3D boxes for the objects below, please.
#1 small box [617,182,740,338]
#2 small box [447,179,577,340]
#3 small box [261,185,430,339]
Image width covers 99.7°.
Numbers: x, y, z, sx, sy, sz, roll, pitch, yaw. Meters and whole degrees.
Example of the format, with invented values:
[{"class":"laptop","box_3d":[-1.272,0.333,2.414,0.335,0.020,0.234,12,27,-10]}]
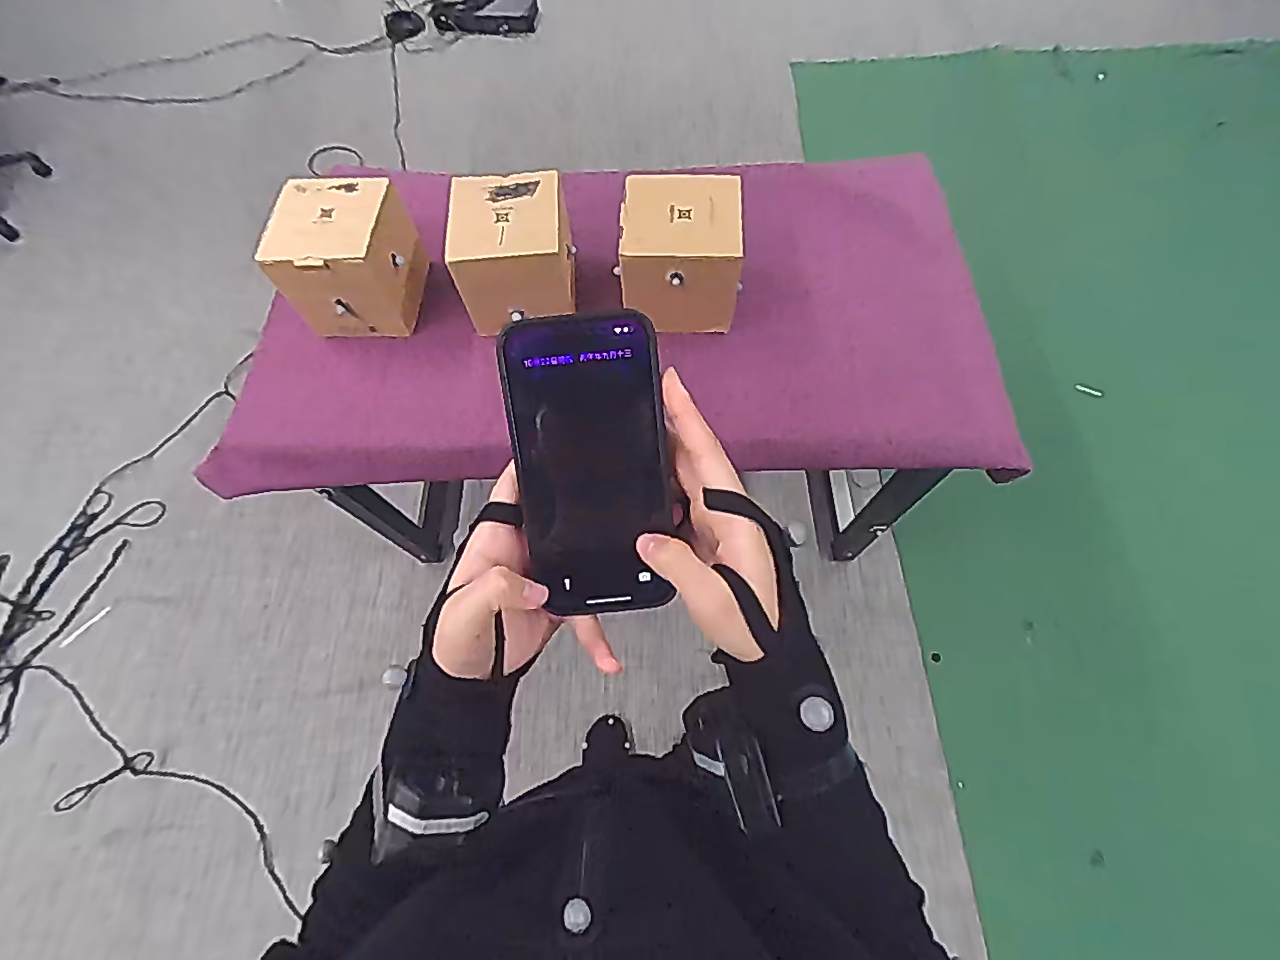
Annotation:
[{"class":"small box","box_3d":[0.063,-0.345,0.863,0.179,0.176,0.168,3,66,4]},{"class":"small box","box_3d":[-0.197,-0.352,0.877,0.168,0.176,0.179,-4,66,1]},{"class":"small box","box_3d":[-0.465,-0.349,0.887,0.168,0.176,0.179,0,66,2]}]
